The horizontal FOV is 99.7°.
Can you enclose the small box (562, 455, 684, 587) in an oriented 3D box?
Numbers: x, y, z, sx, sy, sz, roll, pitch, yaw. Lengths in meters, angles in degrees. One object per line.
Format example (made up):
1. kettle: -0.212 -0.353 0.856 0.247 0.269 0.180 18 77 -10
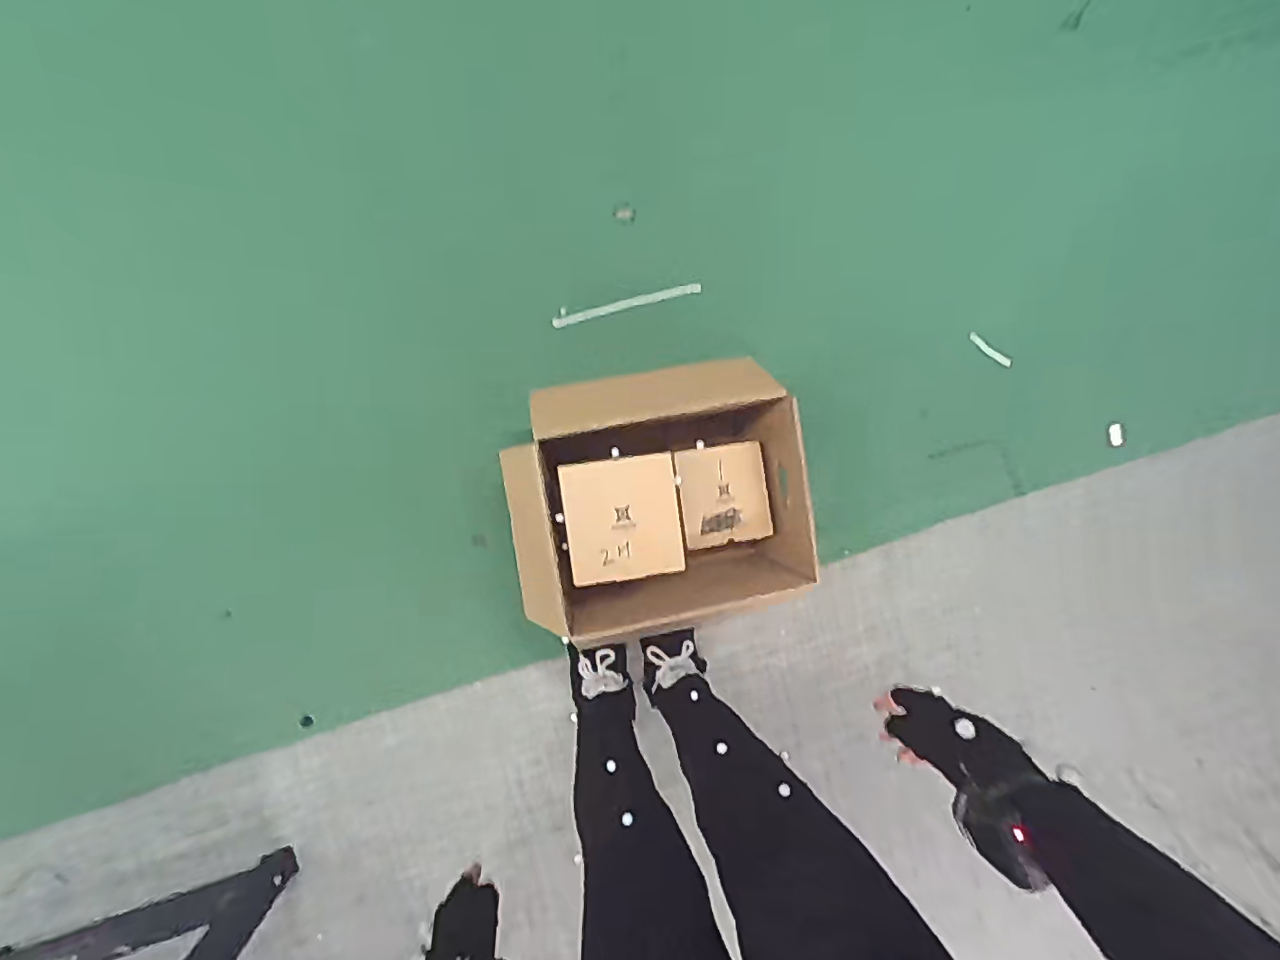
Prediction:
1. small box: -0.032 0.057 0.858 0.168 0.176 0.179 -7 93 -5
